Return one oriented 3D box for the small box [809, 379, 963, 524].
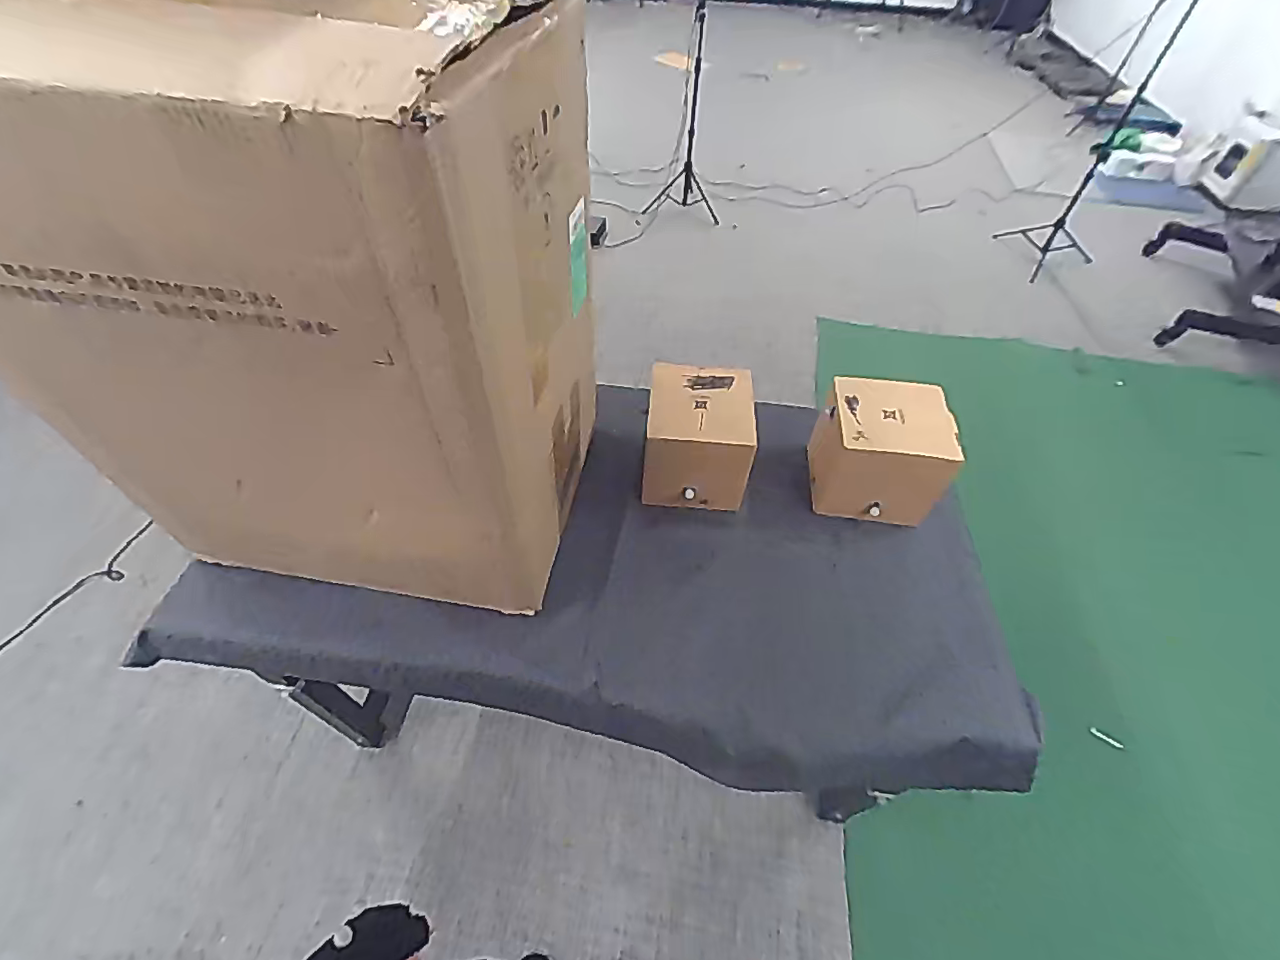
[{"bbox_3d":[0.397,-0.044,0.908,0.179,0.176,0.168,8,51,3],"label":"small box"}]
